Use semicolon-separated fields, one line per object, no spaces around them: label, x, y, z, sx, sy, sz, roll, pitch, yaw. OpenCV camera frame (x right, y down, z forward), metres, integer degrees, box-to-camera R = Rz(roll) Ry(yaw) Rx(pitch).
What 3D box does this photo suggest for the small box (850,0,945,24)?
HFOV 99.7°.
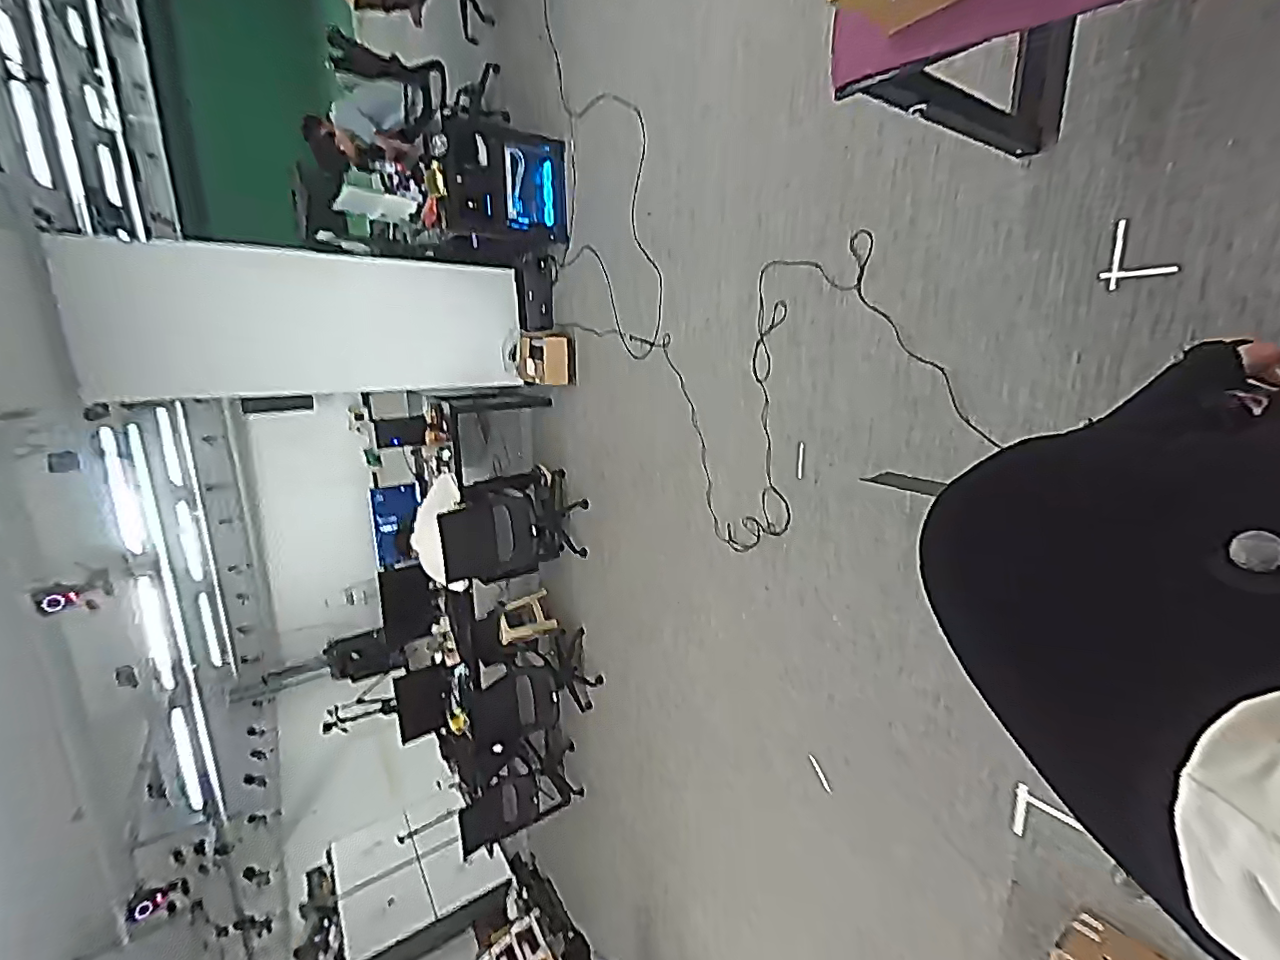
small box;0.398;-0.802;0.772;0.179;0.176;0.168;20;116;54
